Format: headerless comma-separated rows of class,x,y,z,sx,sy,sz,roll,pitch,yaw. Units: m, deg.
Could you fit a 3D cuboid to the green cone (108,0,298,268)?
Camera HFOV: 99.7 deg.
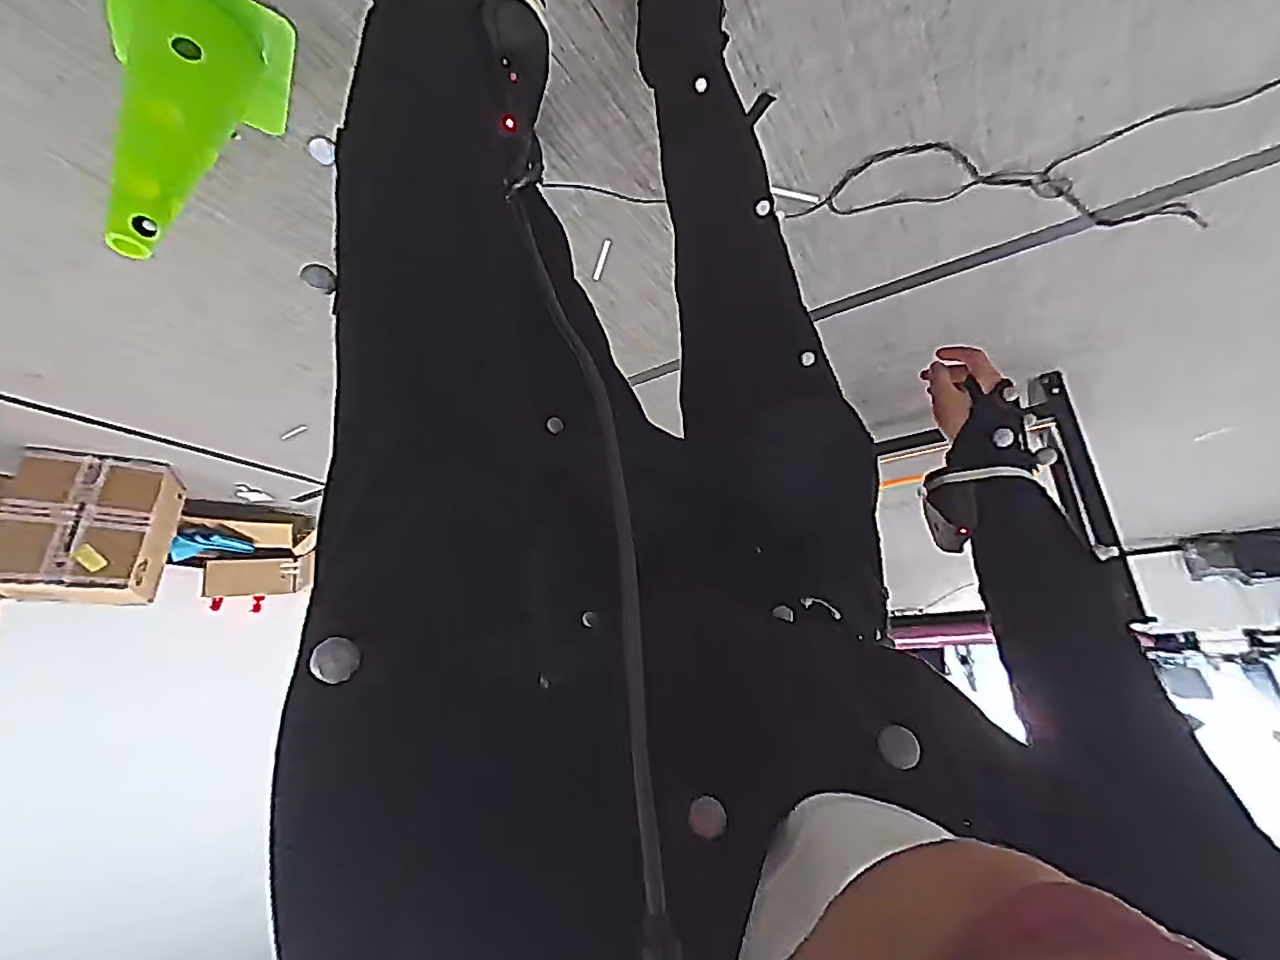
green cone,-0.584,-0.426,0.682,0.202,0.368,0.200,11,157,-33
